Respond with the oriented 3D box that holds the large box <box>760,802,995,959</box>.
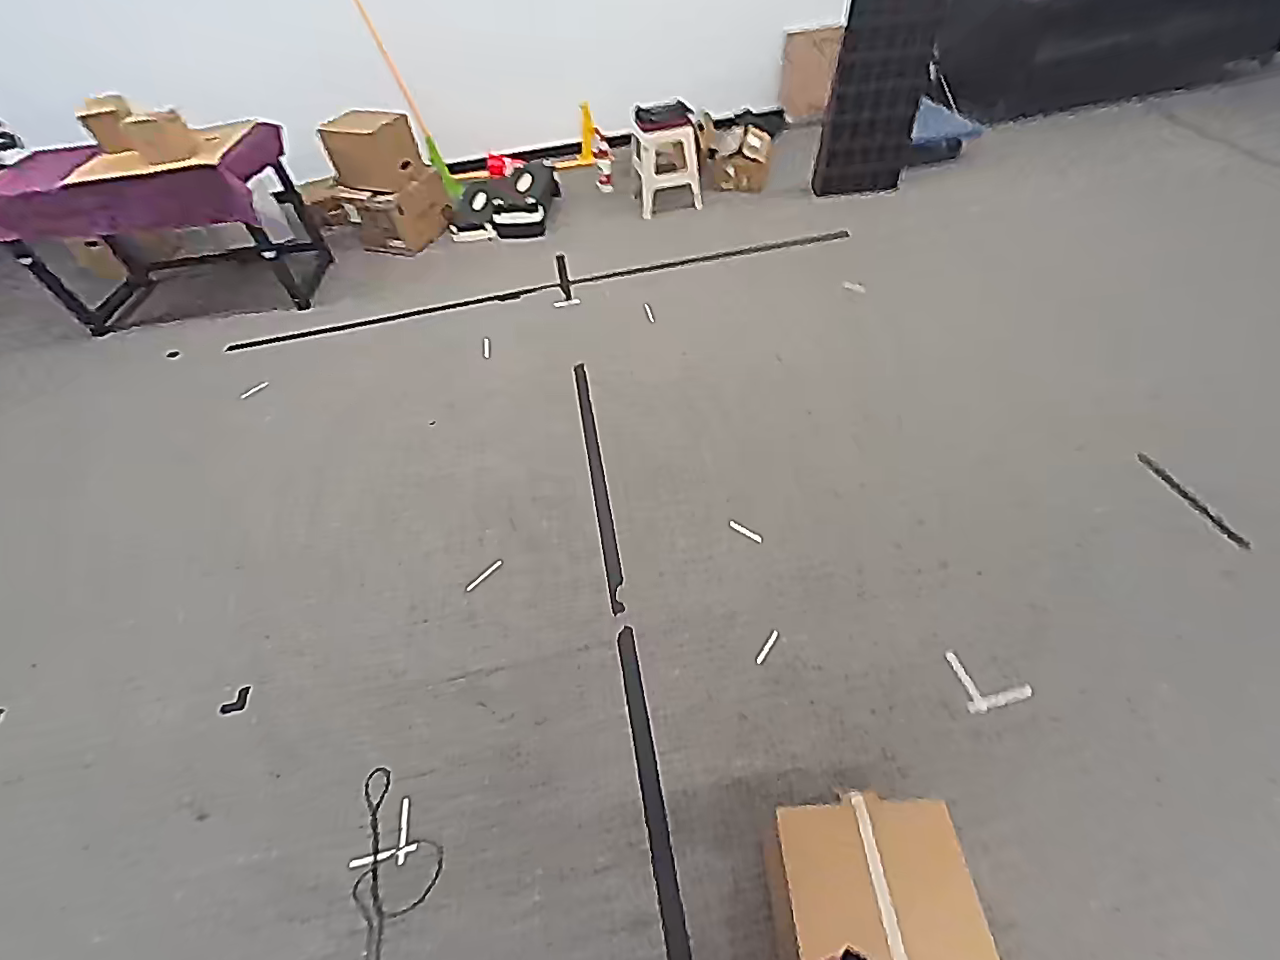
[{"bbox_3d":[0.427,0.859,1.002,0.320,0.320,0.408,-4,50,2],"label":"large box"}]
